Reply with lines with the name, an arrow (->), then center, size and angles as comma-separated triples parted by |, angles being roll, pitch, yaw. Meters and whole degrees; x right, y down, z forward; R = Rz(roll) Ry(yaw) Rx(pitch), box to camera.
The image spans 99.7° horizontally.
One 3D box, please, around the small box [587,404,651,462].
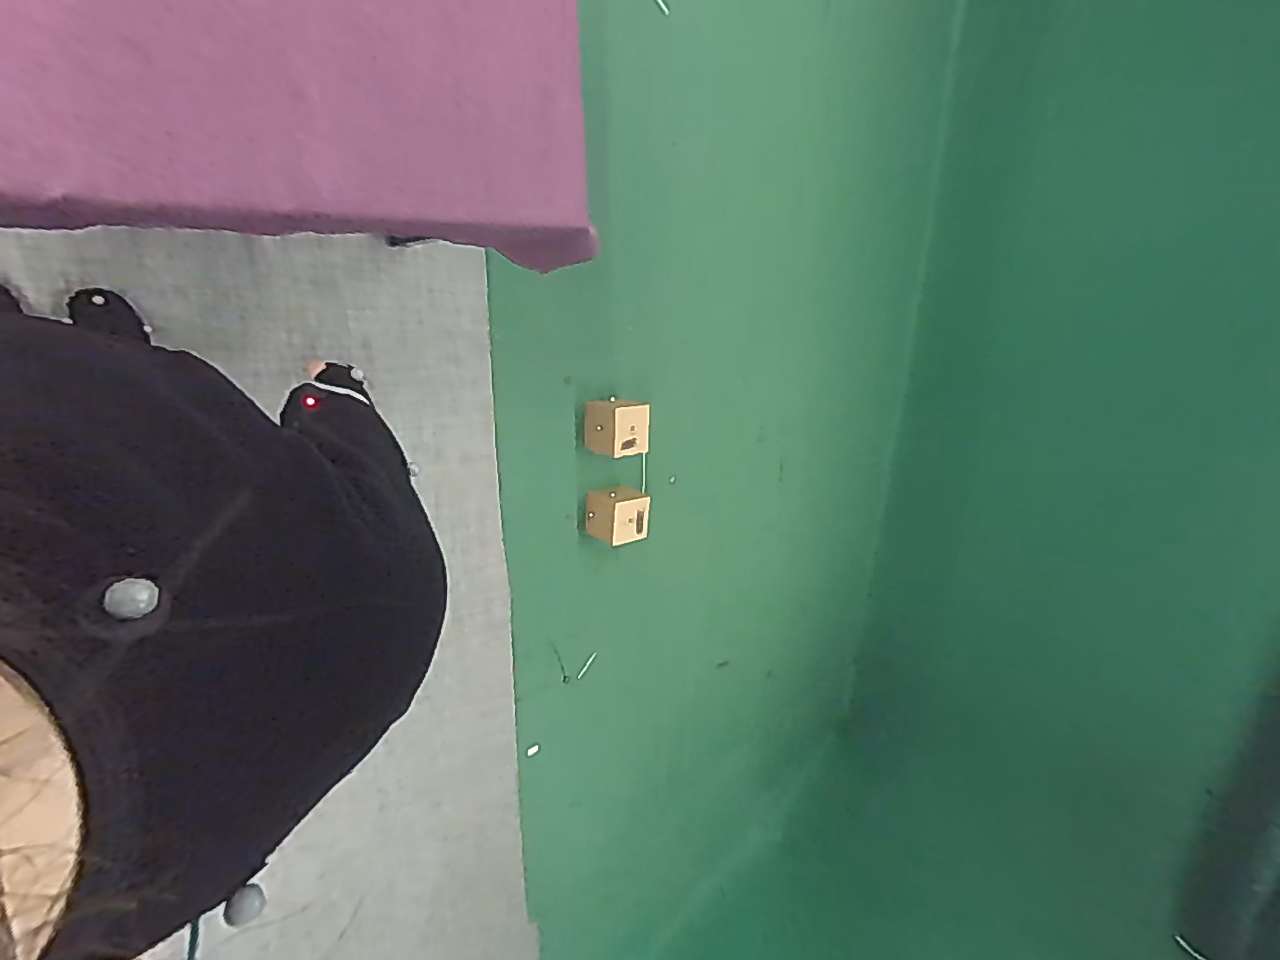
small box -> -0.079, -0.174, 1.942 | 0.168, 0.176, 0.179 | -13, 110, -42
